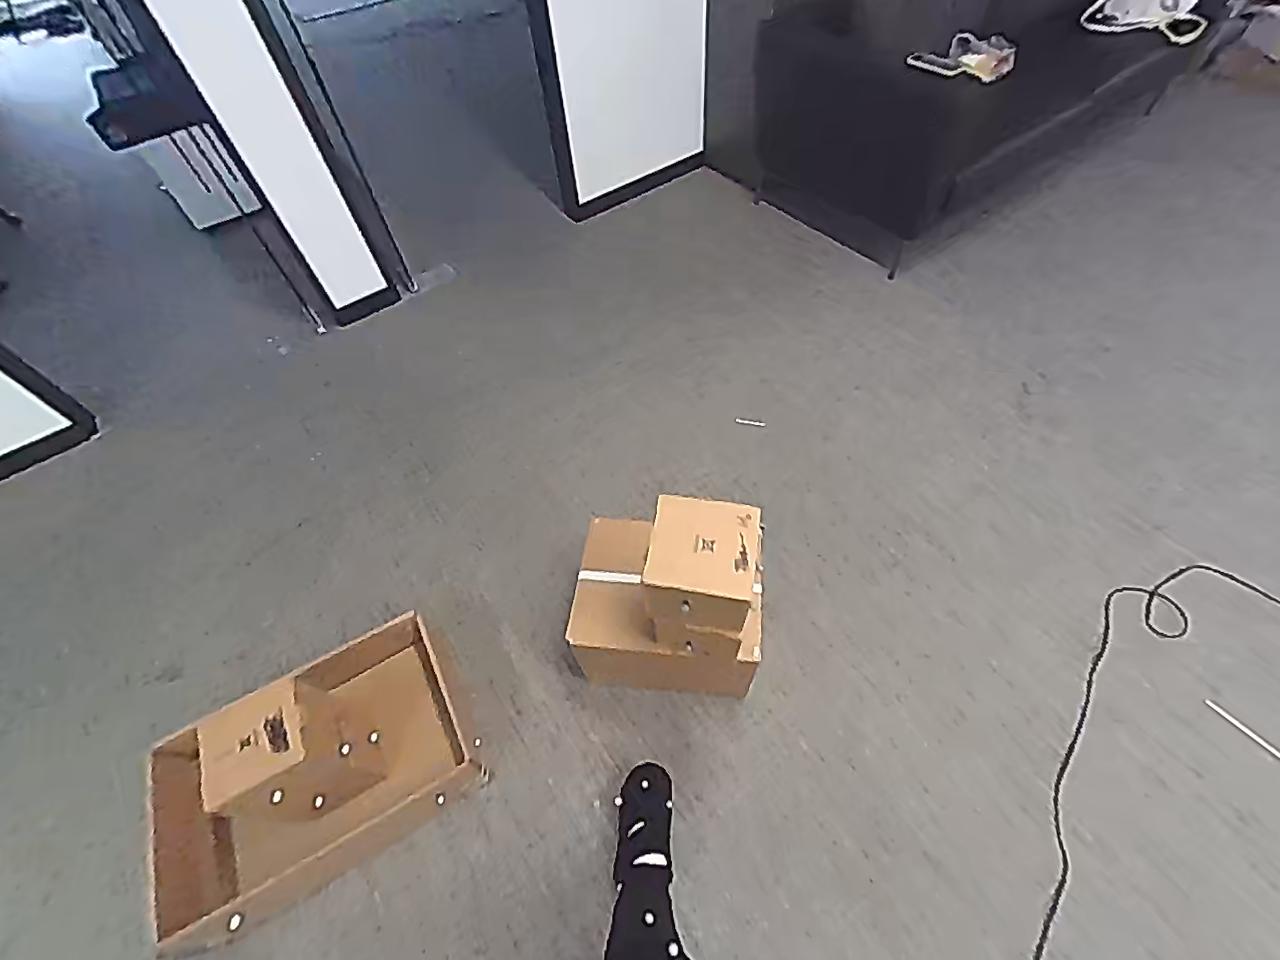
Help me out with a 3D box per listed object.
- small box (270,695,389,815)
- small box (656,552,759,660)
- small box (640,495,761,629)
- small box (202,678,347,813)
[{"bbox_3d":[-0.691,0.611,1.193,0.179,0.176,0.168,-27,58,-14],"label":"small box"},{"bbox_3d":[0.131,0.235,1.073,0.168,0.176,0.179,11,60,12],"label":"small box"},{"bbox_3d":[0.107,0.145,0.937,0.179,0.176,0.168,8,60,10],"label":"small box"},{"bbox_3d":[-0.702,0.520,1.057,0.179,0.176,0.168,-27,58,-12],"label":"small box"}]
